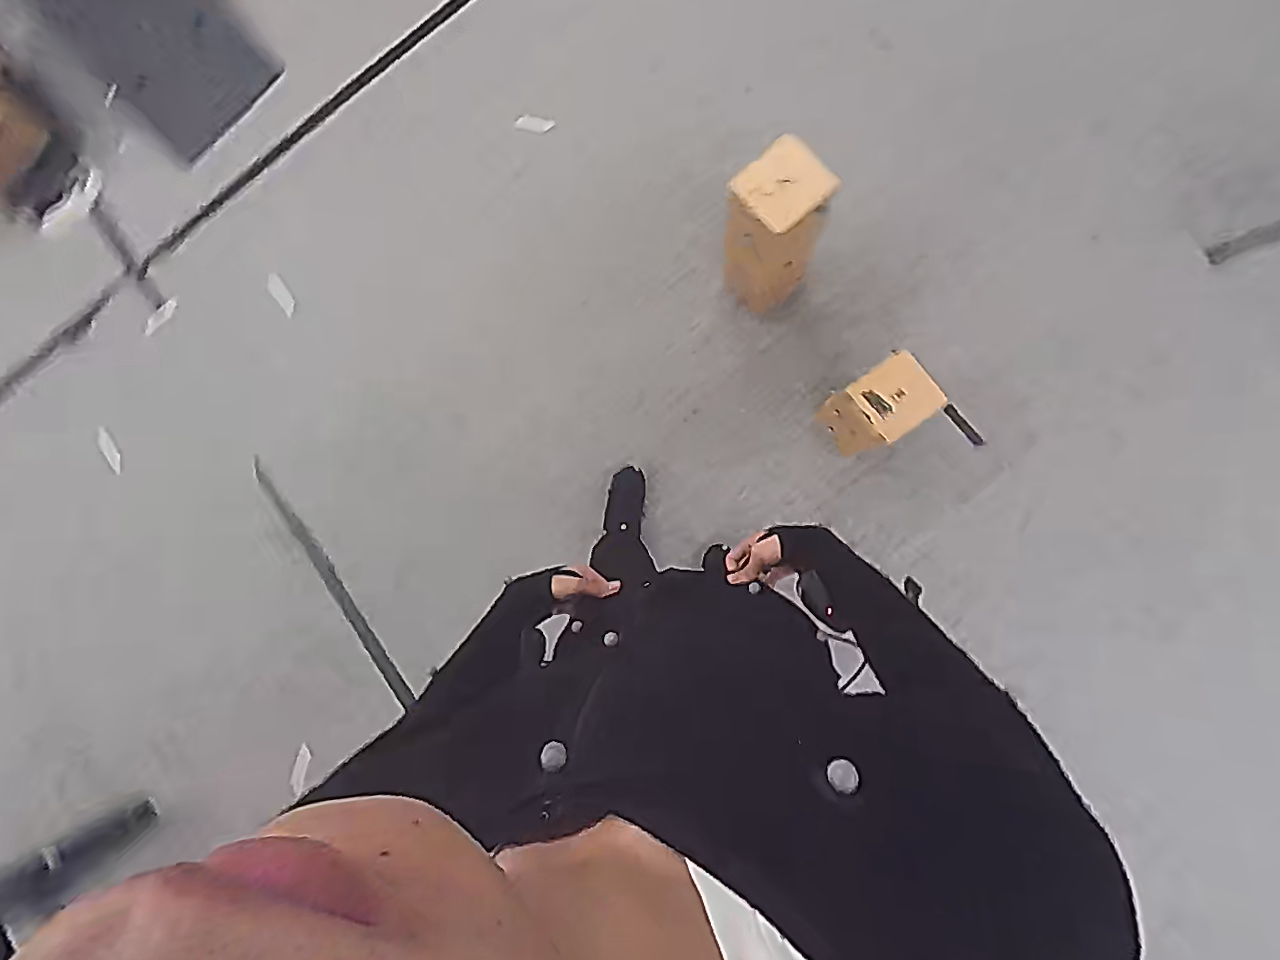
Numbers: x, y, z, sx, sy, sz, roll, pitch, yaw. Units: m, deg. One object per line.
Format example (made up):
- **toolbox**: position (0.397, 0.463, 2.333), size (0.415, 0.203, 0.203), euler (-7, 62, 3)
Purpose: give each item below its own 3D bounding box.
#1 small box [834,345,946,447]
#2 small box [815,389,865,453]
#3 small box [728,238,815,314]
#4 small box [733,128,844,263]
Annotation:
- **small box**: position (0.607, -0.199, 1.346), size (0.179, 0.176, 0.168), euler (-35, 84, 3)
- **small box**: position (0.619, -0.194, 1.509), size (0.179, 0.176, 0.168), euler (-35, 84, 4)
- **small box**: position (0.370, -0.617, 1.562), size (0.179, 0.176, 0.168), euler (-39, 83, 2)
- **small box**: position (0.327, -0.640, 1.238), size (0.179, 0.176, 0.168), euler (-39, 82, 3)
